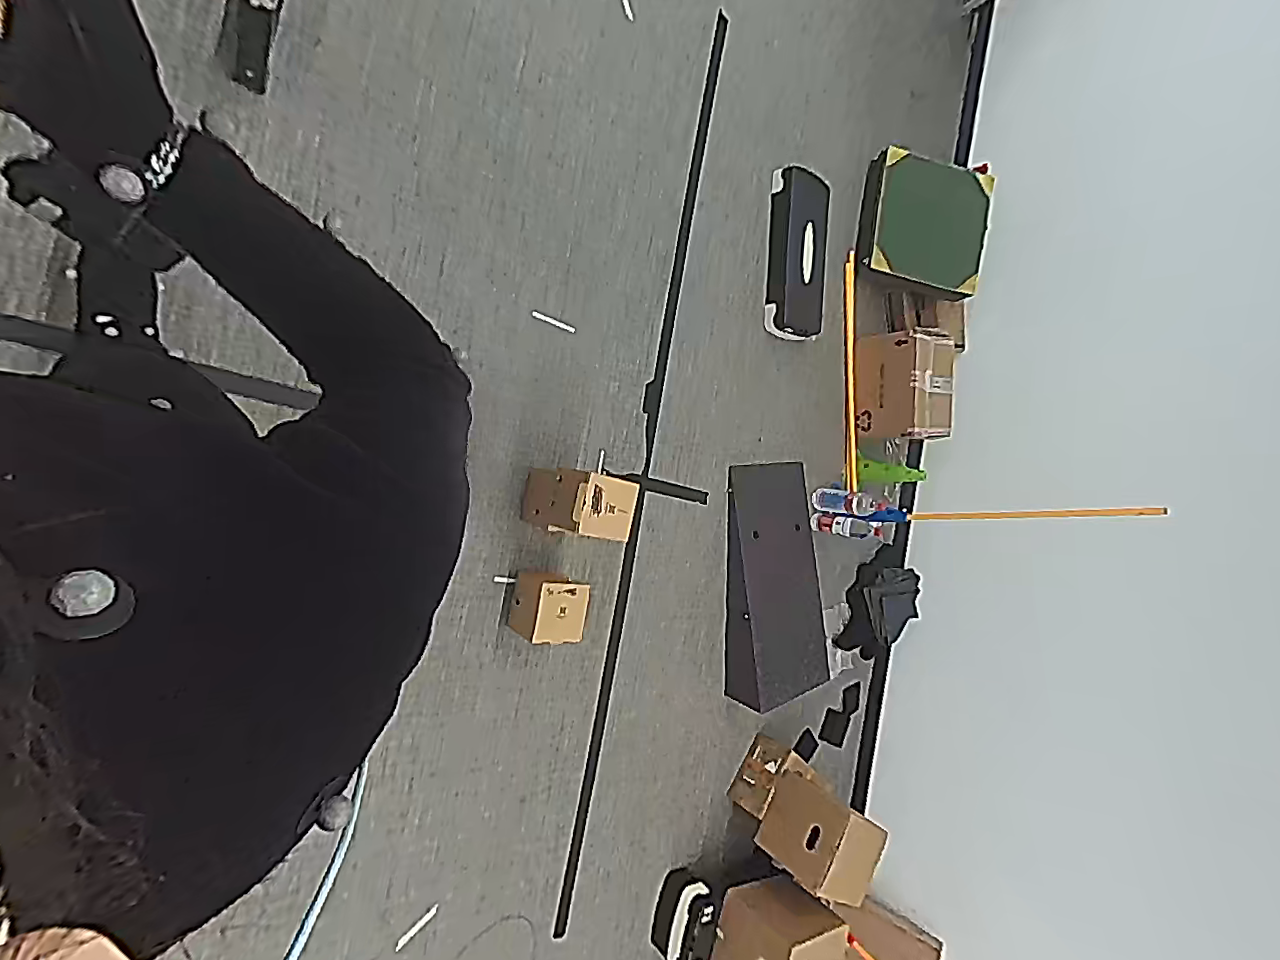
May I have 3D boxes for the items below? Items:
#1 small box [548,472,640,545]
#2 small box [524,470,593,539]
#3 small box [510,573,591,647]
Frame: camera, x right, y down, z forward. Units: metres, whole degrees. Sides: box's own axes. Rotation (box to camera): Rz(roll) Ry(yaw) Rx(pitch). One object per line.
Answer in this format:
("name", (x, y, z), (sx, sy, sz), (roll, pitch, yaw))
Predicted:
("small box", (-0.131, 0.075, 1.497), (0.179, 0.176, 0.168), (15, 86, -40))
("small box", (-0.232, 0.072, 1.627), (0.168, 0.176, 0.179), (11, 87, -39))
("small box", (-0.274, 0.389, 1.625), (0.168, 0.176, 0.179), (12, 88, -39))
